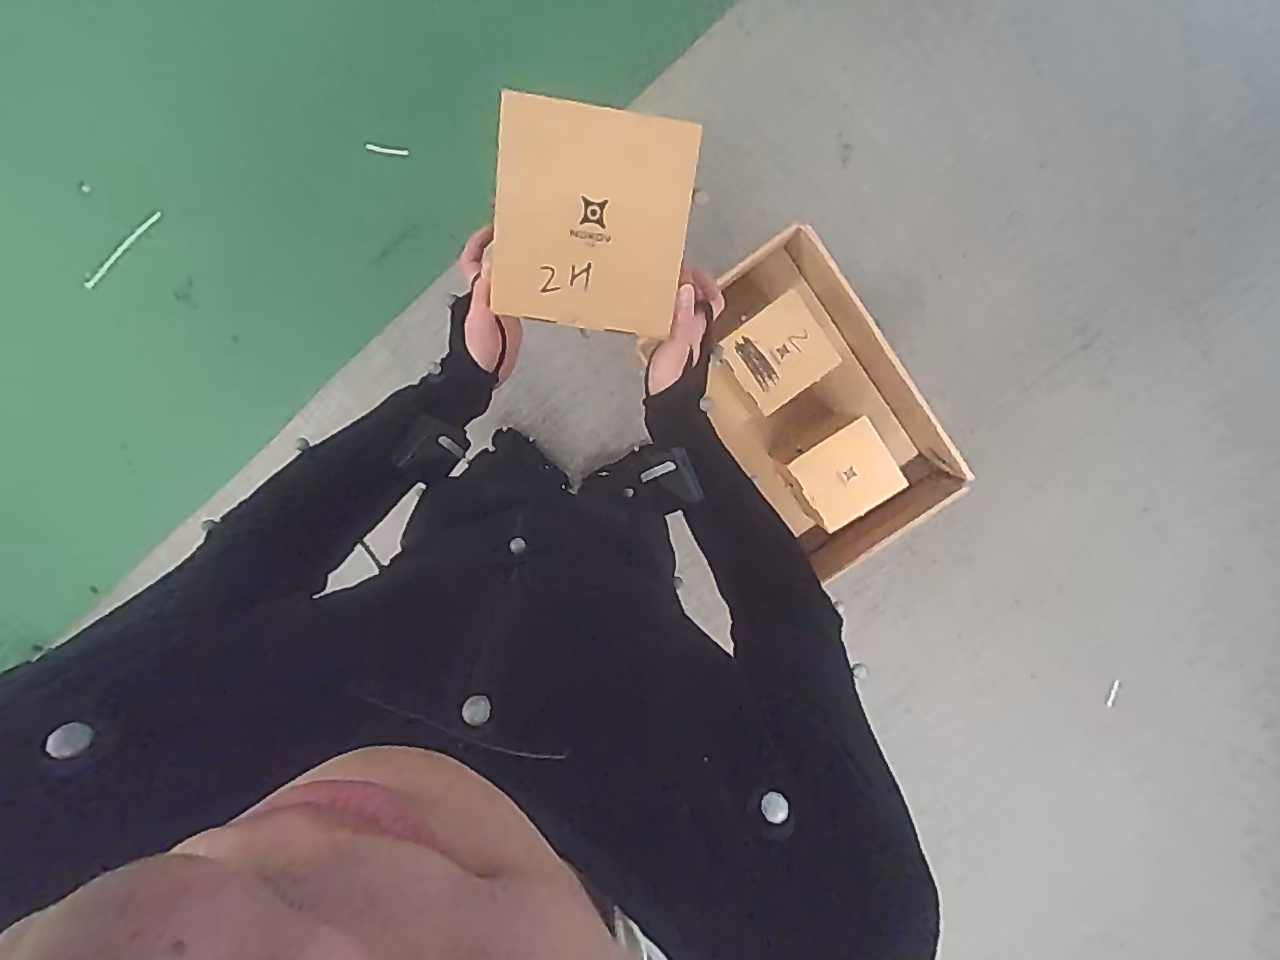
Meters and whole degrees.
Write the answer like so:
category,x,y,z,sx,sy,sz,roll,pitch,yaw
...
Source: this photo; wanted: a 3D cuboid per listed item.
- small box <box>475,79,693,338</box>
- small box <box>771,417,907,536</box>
category,x,y,z,sx,sy,sz,roll,pitch,yaw
small box,-0.053,-0.244,0.526,0.168,0.176,0.179,8,108,-4
small box,0.392,-0.016,1.097,0.179,0.176,0.168,-34,97,7
